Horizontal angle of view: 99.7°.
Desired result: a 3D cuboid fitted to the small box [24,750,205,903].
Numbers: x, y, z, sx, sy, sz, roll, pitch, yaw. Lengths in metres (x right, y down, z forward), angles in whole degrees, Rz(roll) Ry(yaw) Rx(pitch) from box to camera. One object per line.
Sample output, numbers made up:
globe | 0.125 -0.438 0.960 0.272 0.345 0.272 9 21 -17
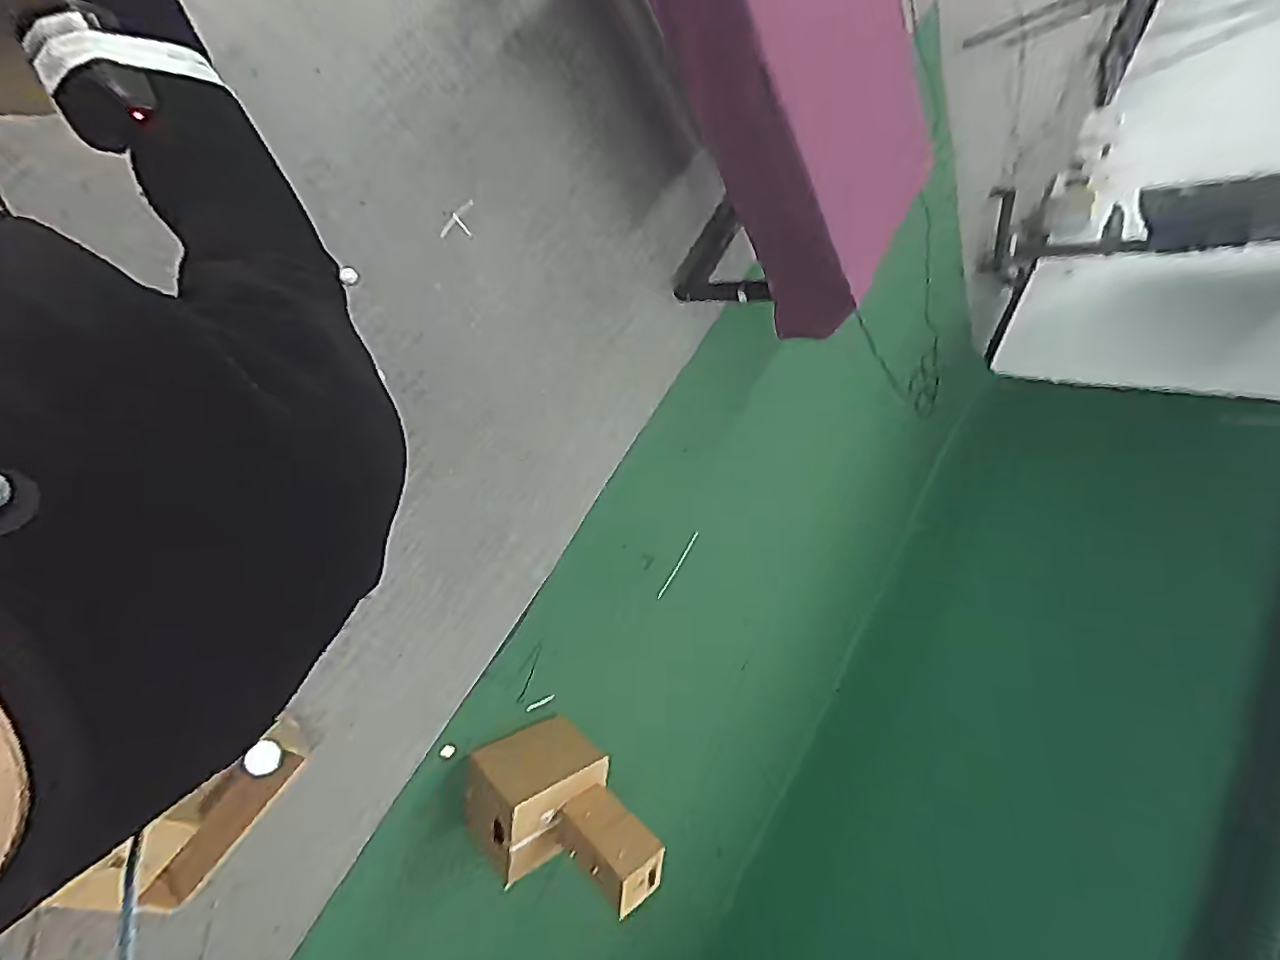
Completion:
small box | -0.982 0.644 1.018 0.168 0.176 0.179 -52 135 -19
